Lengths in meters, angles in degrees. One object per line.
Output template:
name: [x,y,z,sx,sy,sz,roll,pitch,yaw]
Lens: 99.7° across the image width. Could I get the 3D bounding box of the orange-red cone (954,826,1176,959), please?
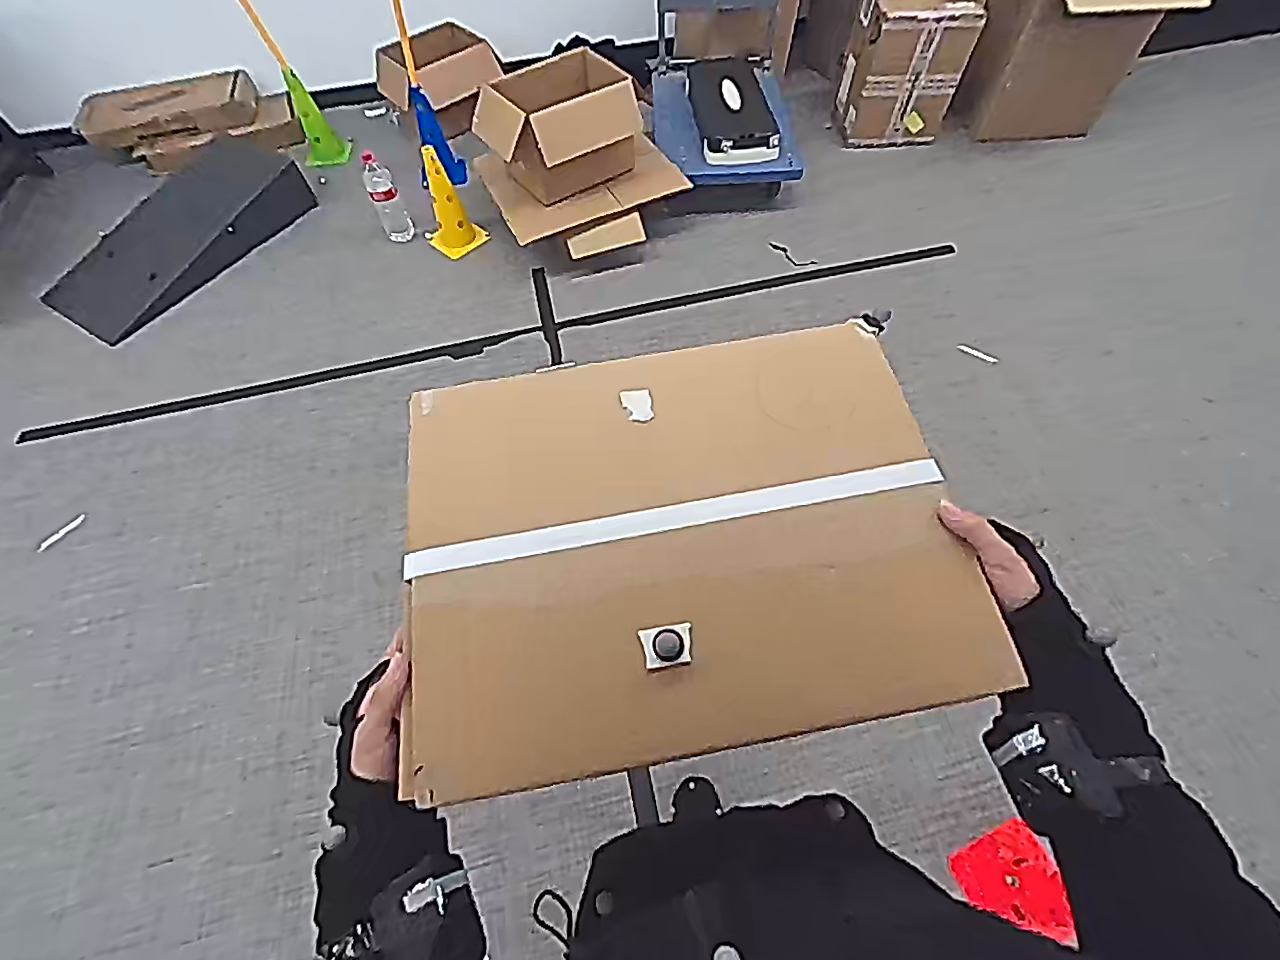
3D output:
orange-red cone: [0.754,0.741,0.929,0.199,0.360,0.198,-19,61,-11]
